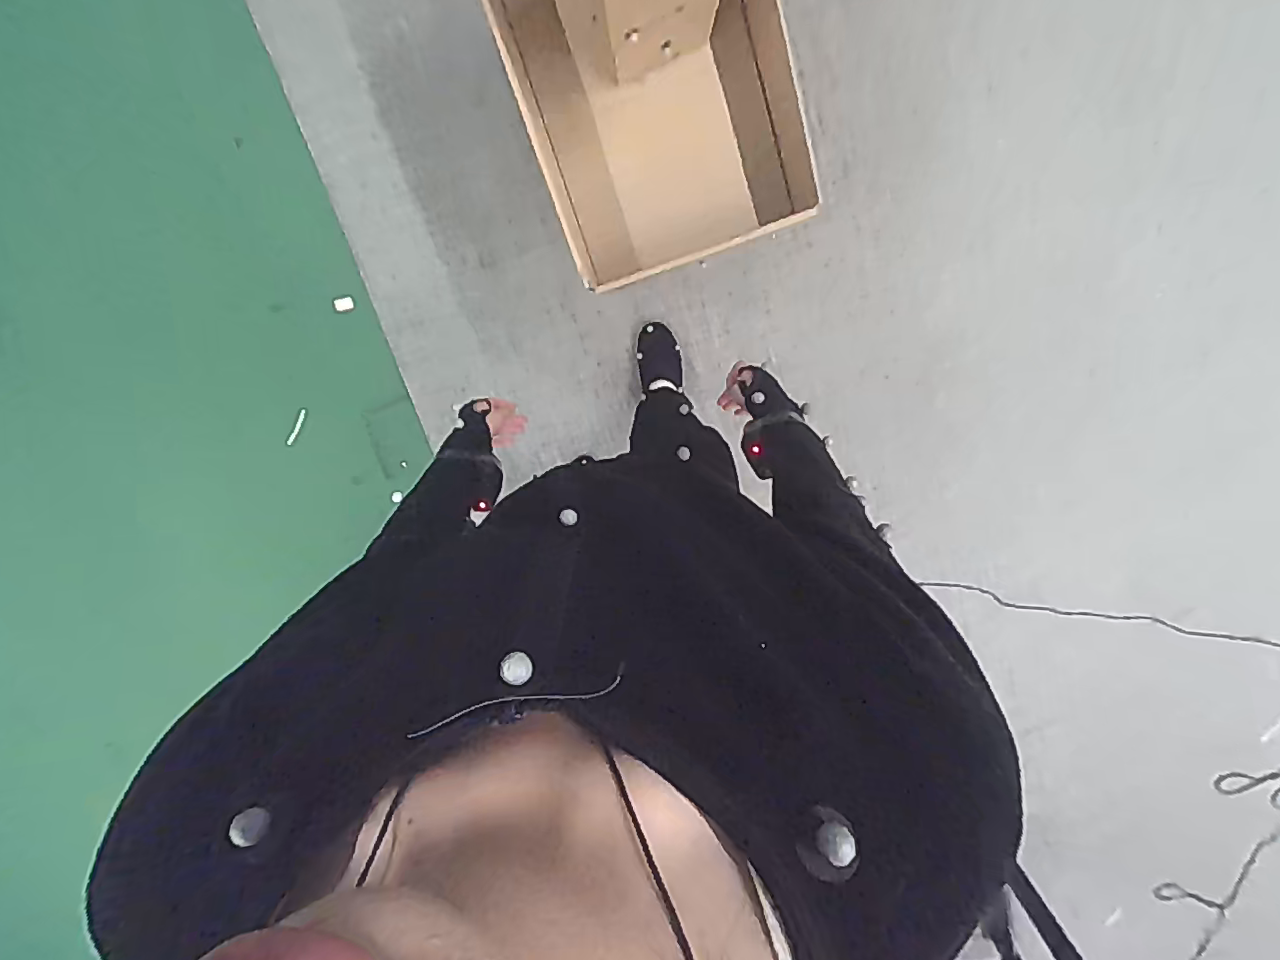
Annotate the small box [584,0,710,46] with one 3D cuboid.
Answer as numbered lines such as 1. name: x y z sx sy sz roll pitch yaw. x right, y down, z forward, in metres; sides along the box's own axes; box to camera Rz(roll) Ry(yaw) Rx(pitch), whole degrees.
1. small box: -0.005 -0.672 0.650 0.168 0.176 0.179 -22 106 7

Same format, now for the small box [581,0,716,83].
1. small box: 0.001 -0.731 0.803 0.168 0.176 0.179 -21 108 6
